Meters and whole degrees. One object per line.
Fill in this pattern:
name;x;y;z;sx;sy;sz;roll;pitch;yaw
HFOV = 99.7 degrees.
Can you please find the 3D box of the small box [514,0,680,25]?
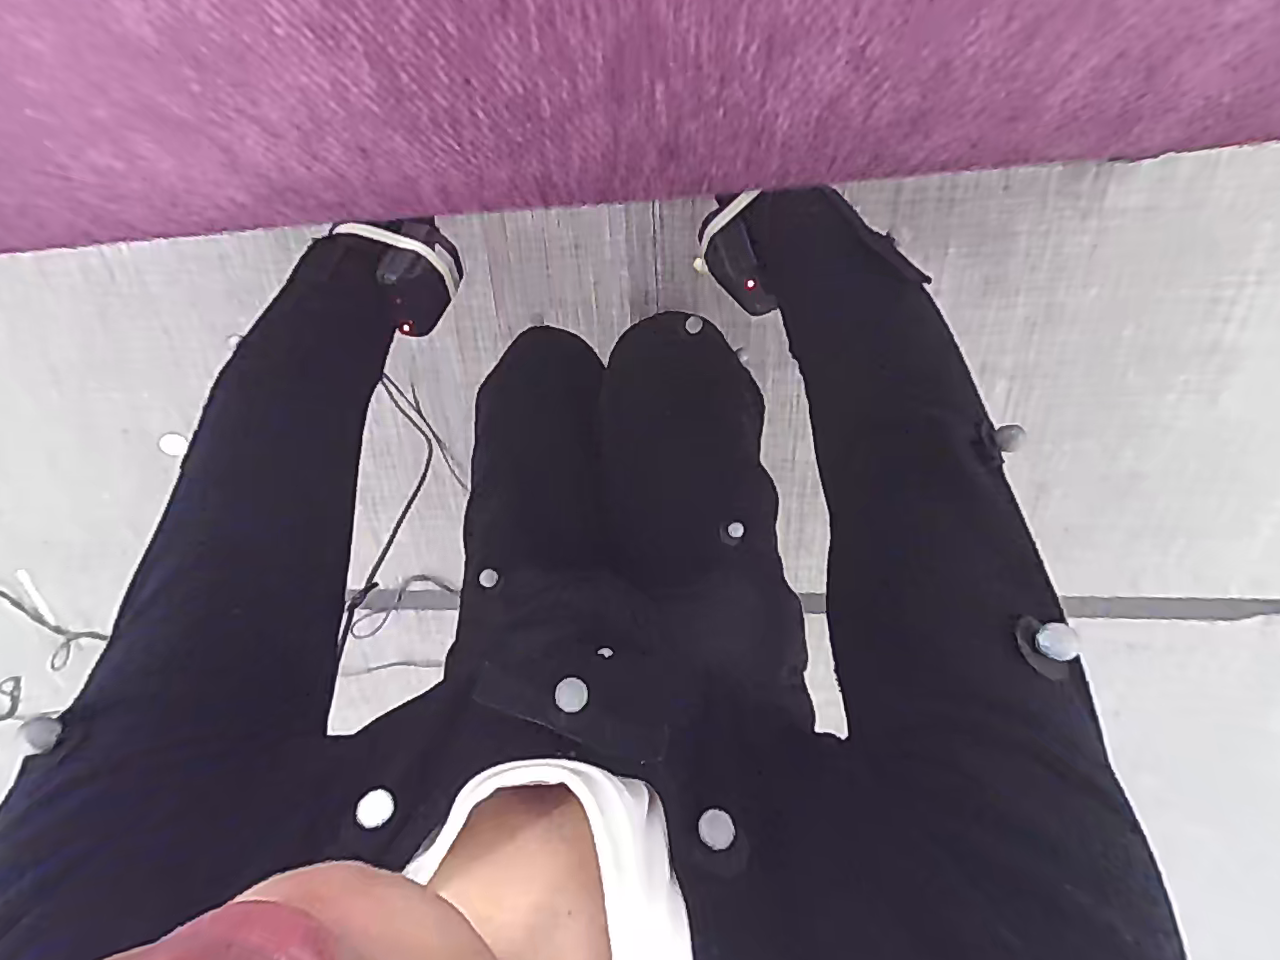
small box;-0.047;-0.508;0.439;0.168;0.176;0.179;0;117;4
